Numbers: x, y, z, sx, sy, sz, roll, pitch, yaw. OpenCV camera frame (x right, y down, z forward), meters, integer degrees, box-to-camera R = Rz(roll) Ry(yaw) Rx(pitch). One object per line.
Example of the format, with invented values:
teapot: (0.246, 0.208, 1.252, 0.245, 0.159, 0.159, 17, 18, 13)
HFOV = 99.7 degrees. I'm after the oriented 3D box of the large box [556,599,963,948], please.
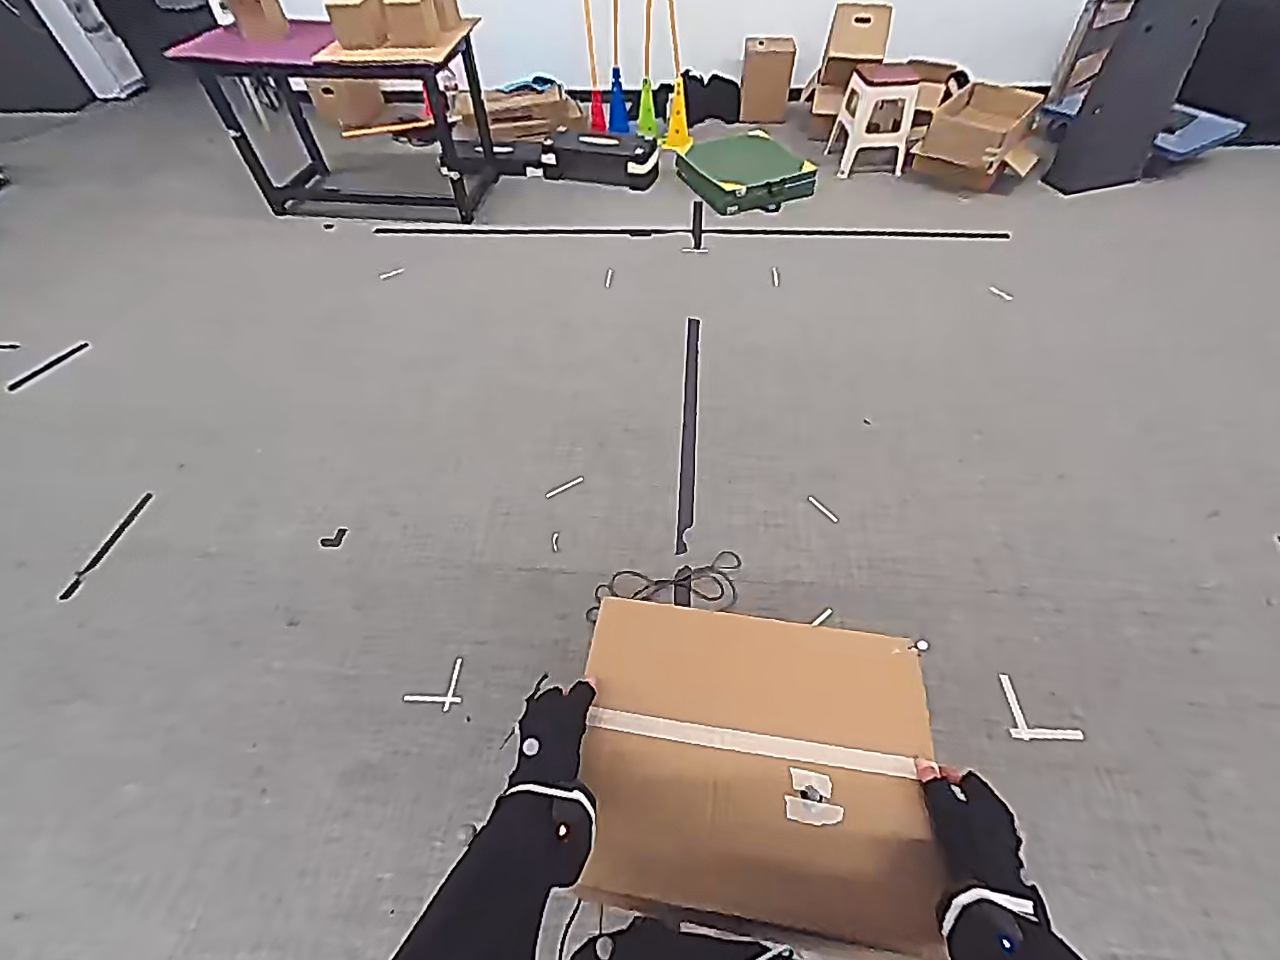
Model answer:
large box: (0.133, 0.395, 0.733, 0.408, 0.320, 0.320, 7, 51, 8)
